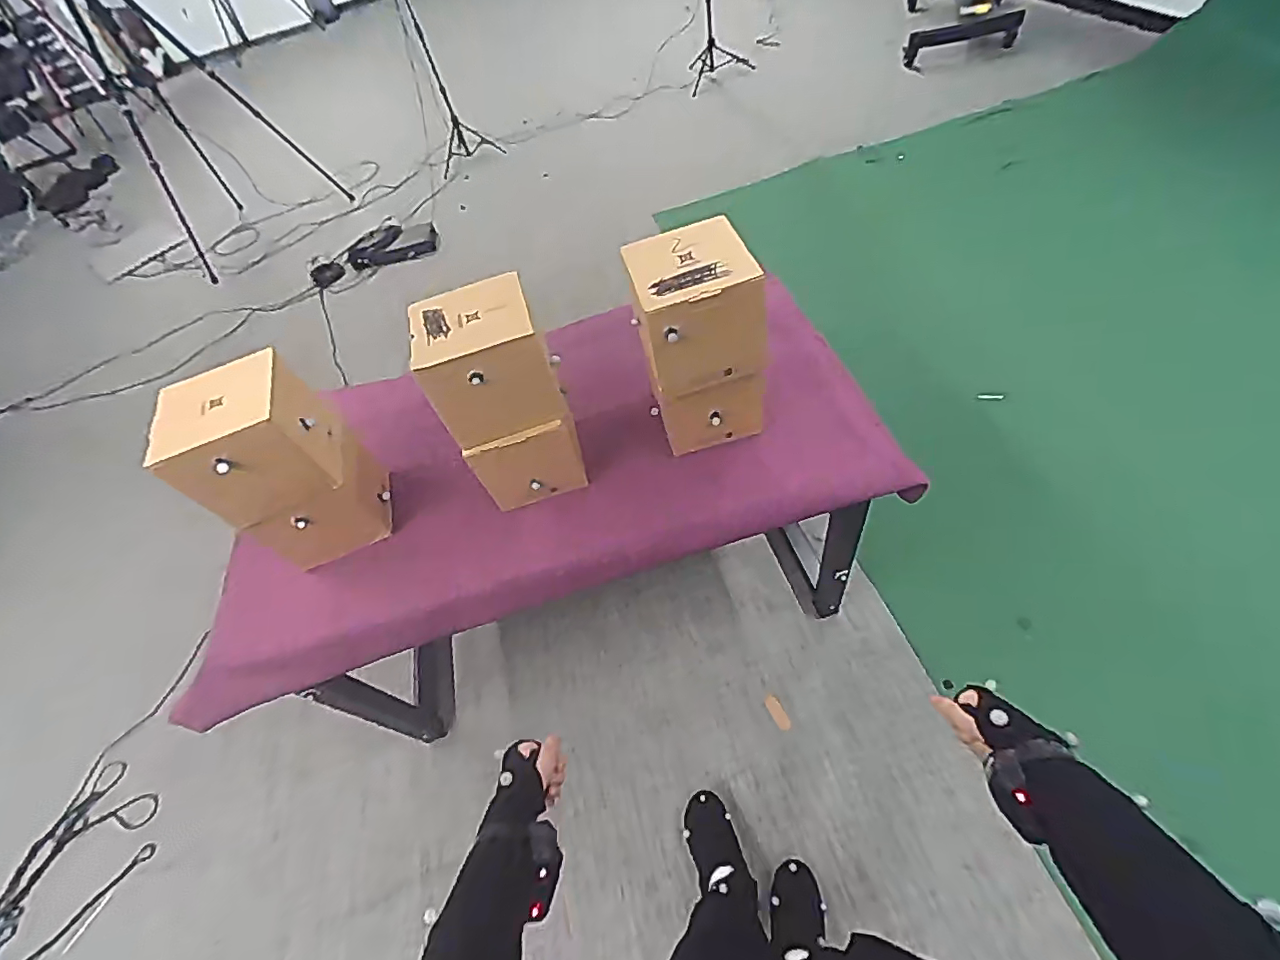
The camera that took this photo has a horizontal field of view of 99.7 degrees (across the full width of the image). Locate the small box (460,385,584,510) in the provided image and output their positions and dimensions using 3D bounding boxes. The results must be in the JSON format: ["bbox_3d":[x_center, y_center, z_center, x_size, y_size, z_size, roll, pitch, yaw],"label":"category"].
[{"bbox_3d":[-0.207,-0.075,0.958,0.168,0.176,0.179,-17,53,0],"label":"small box"}]

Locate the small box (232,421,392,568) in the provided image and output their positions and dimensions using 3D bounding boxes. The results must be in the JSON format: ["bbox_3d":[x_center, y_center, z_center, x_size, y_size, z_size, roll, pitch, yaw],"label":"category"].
[{"bbox_3d":[-0.570,0.031,0.960,0.179,0.176,0.168,-21,54,-4],"label":"small box"}]

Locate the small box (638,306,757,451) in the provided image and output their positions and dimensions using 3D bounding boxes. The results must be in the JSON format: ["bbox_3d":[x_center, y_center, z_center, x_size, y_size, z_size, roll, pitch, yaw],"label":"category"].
[{"bbox_3d":[0.105,-0.170,0.959,0.168,0.176,0.179,-15,53,1],"label":"small box"}]

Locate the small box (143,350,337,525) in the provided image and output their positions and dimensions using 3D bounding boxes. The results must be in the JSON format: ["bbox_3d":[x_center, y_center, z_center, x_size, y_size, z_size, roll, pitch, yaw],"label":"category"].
[{"bbox_3d":[-0.591,-0.060,0.828,0.179,0.176,0.168,-23,54,-4],"label":"small box"}]

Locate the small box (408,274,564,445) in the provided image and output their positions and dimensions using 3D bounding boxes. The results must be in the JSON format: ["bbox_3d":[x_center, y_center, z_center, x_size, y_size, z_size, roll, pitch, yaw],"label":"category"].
[{"bbox_3d":[-0.234,-0.179,0.833,0.179,0.176,0.168,-19,52,-3],"label":"small box"}]
